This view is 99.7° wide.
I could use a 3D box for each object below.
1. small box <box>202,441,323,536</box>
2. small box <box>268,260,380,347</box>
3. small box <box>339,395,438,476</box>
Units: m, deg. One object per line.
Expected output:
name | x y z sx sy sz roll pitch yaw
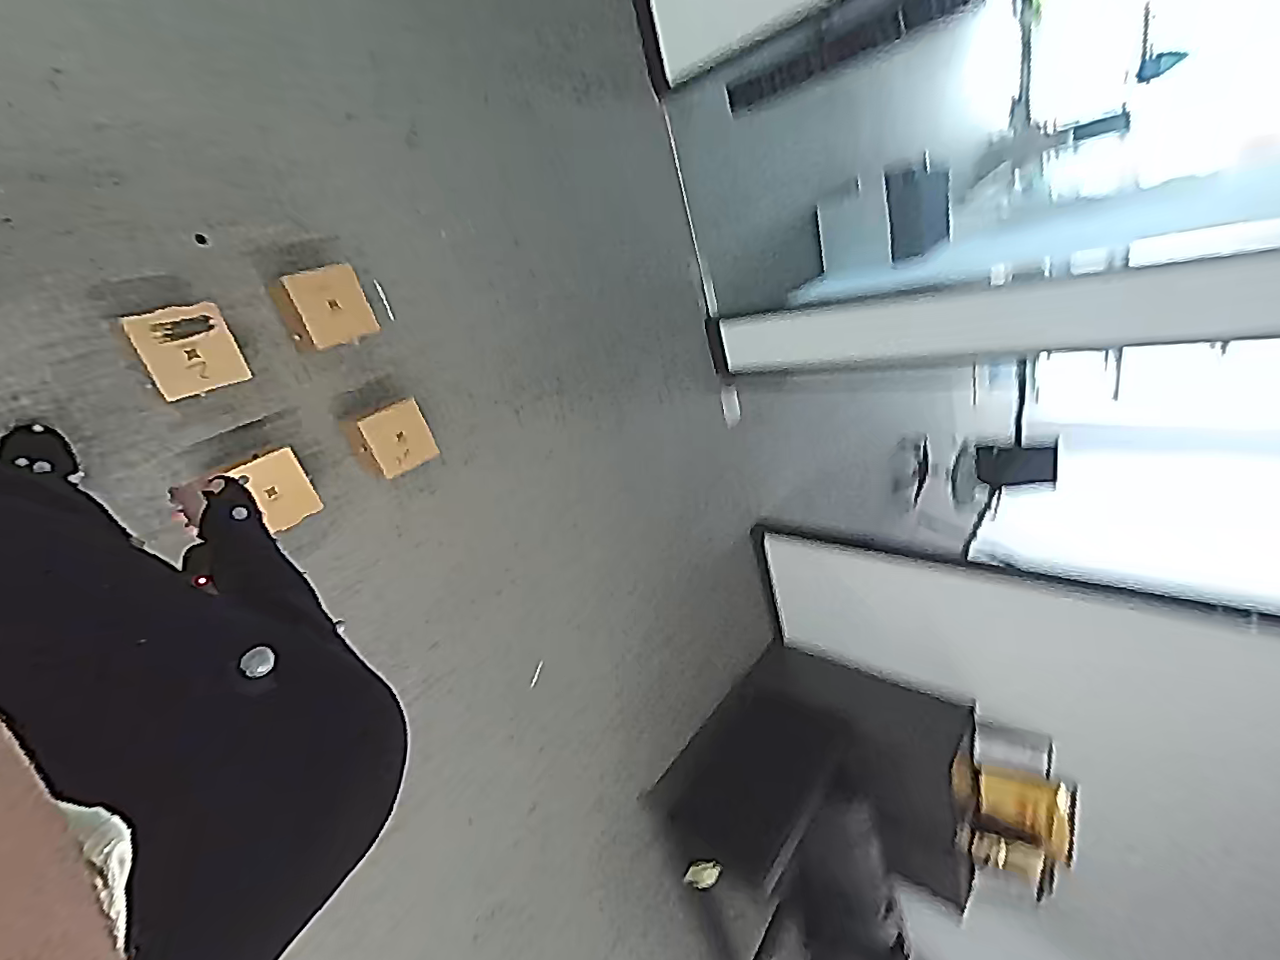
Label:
small box | -0.925 0.013 1.322 0.168 0.176 0.179 -36 122 -37
small box | -0.804 -0.443 1.376 0.168 0.176 0.179 -35 120 -38
small box | -0.710 -0.129 1.520 0.168 0.176 0.179 -35 121 -37
